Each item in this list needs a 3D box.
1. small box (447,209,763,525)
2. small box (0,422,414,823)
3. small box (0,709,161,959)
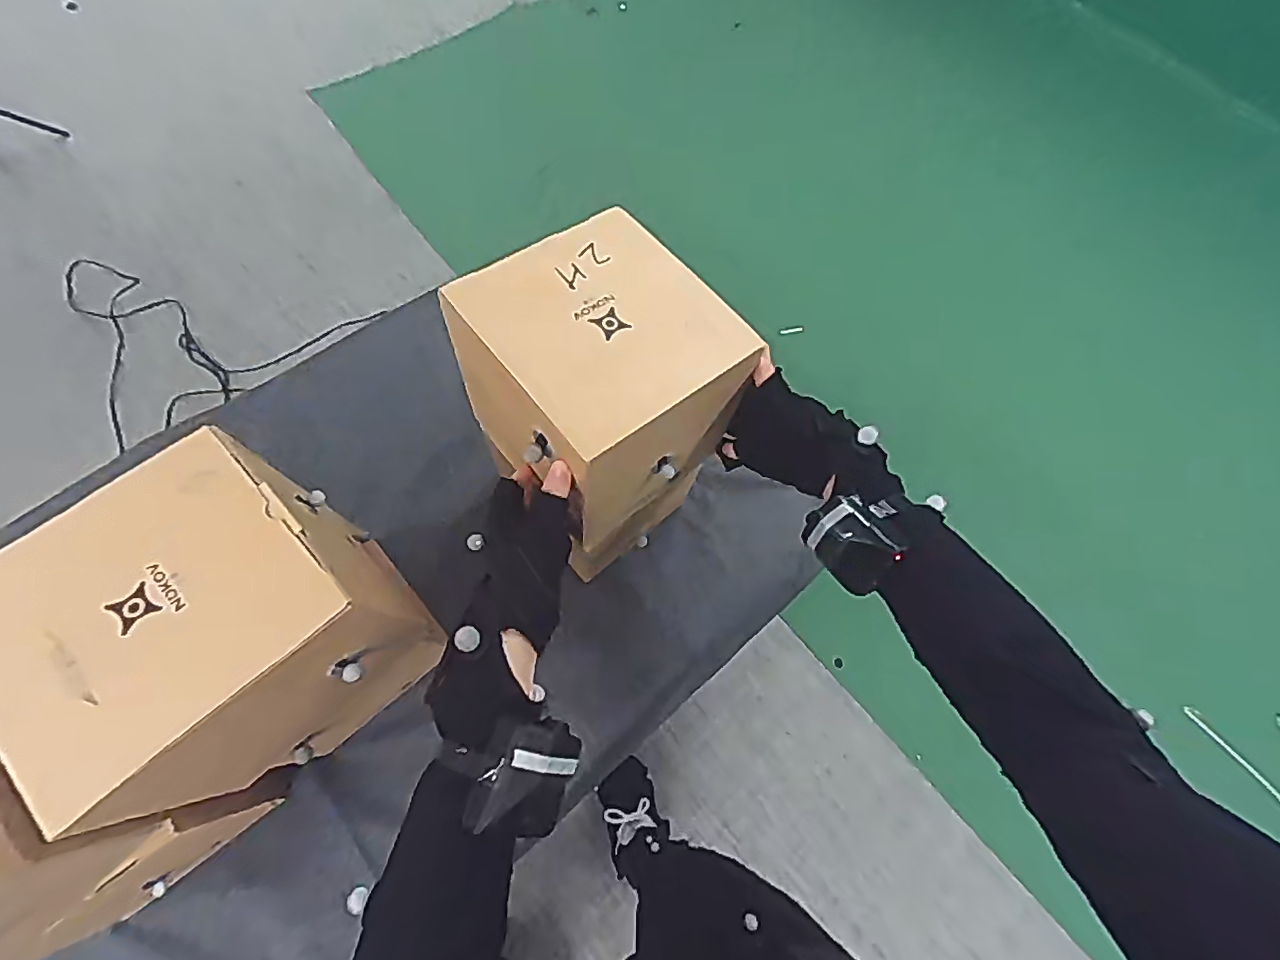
[{"bbox_3d":[-0.031,-0.082,0.461,0.168,0.176,0.179,-35,72,-21],"label":"small box"},{"bbox_3d":[-0.292,0.097,0.393,0.179,0.176,0.168,-41,76,-17],"label":"small box"},{"bbox_3d":[-0.464,0.229,0.327,0.168,0.176,0.179,43,72,10],"label":"small box"}]
